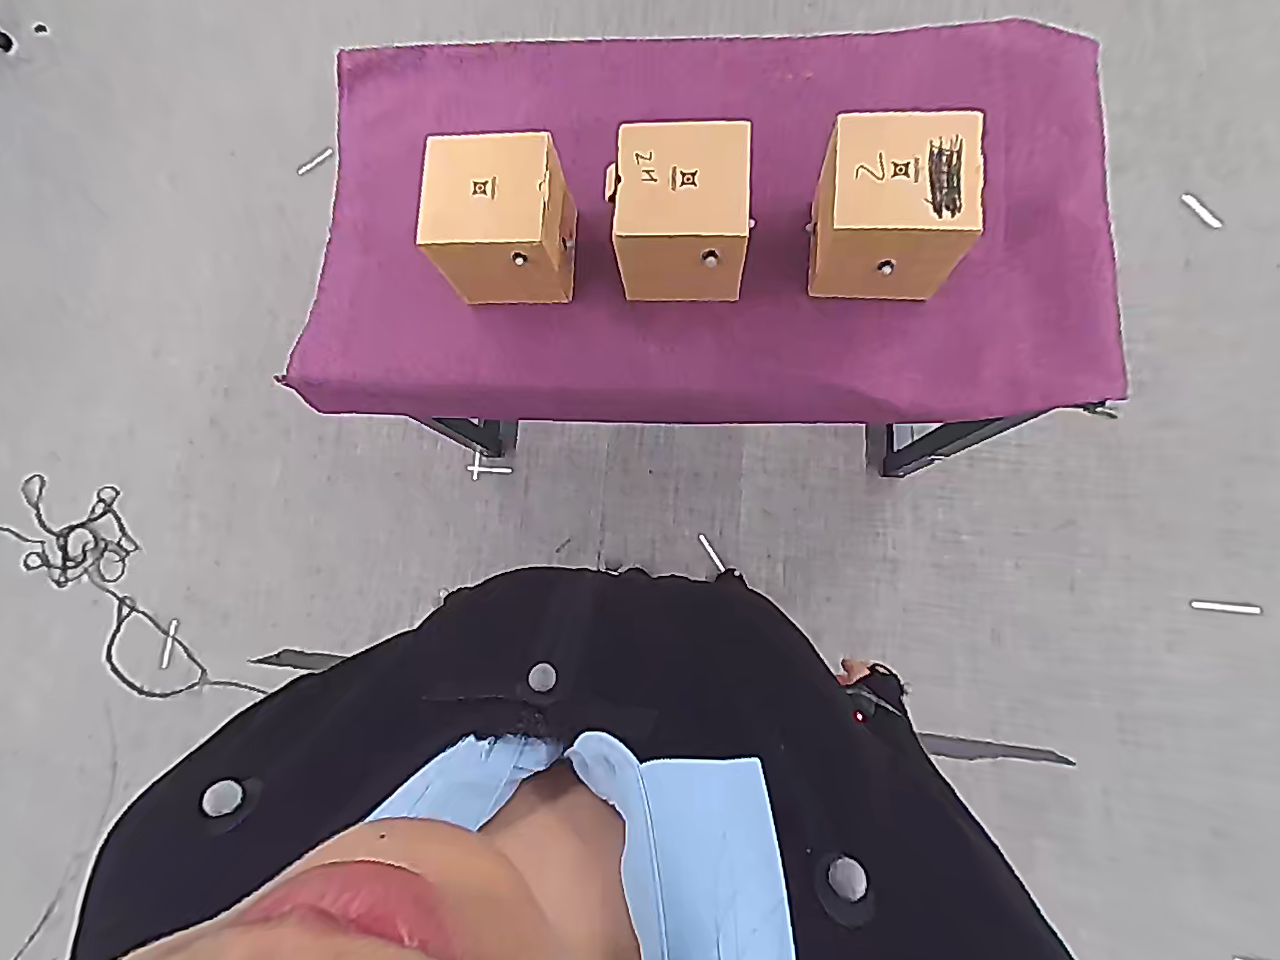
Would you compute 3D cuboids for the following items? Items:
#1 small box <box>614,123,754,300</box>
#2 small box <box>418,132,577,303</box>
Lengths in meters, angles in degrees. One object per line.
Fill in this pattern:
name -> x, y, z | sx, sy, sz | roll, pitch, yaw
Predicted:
small box -> 0.064, -0.373, 0.776 | 0.179, 0.176, 0.168 | 2, 80, 6
small box -> -0.201, -0.377, 0.804 | 0.179, 0.176, 0.168 | 1, 81, 5
